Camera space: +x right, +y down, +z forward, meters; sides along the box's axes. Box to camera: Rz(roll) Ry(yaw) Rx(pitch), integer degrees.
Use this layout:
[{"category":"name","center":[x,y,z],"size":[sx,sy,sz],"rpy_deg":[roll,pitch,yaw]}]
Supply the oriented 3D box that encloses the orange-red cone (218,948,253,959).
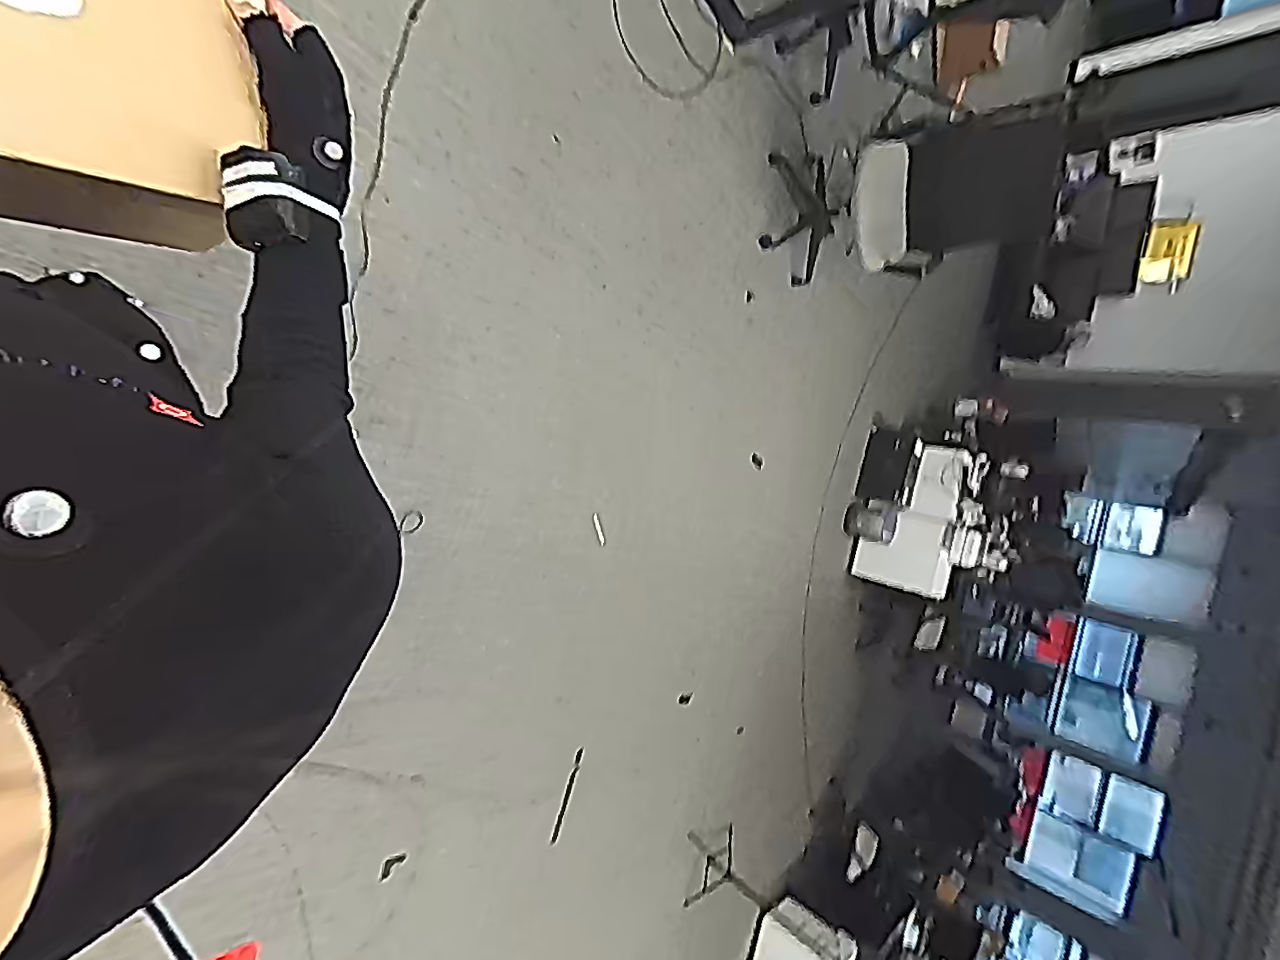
[{"category":"orange-red cone","center":[-0.990,1.348,1.260],"size":[0.198,0.360,0.199],"rpy_deg":[15,88,-49]}]

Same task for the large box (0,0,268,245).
[{"category":"large box","center":[-0.552,-0.382,0.381],"size":[0.408,0.320,0.320],"rpy_deg":[-9,107,-47]}]
